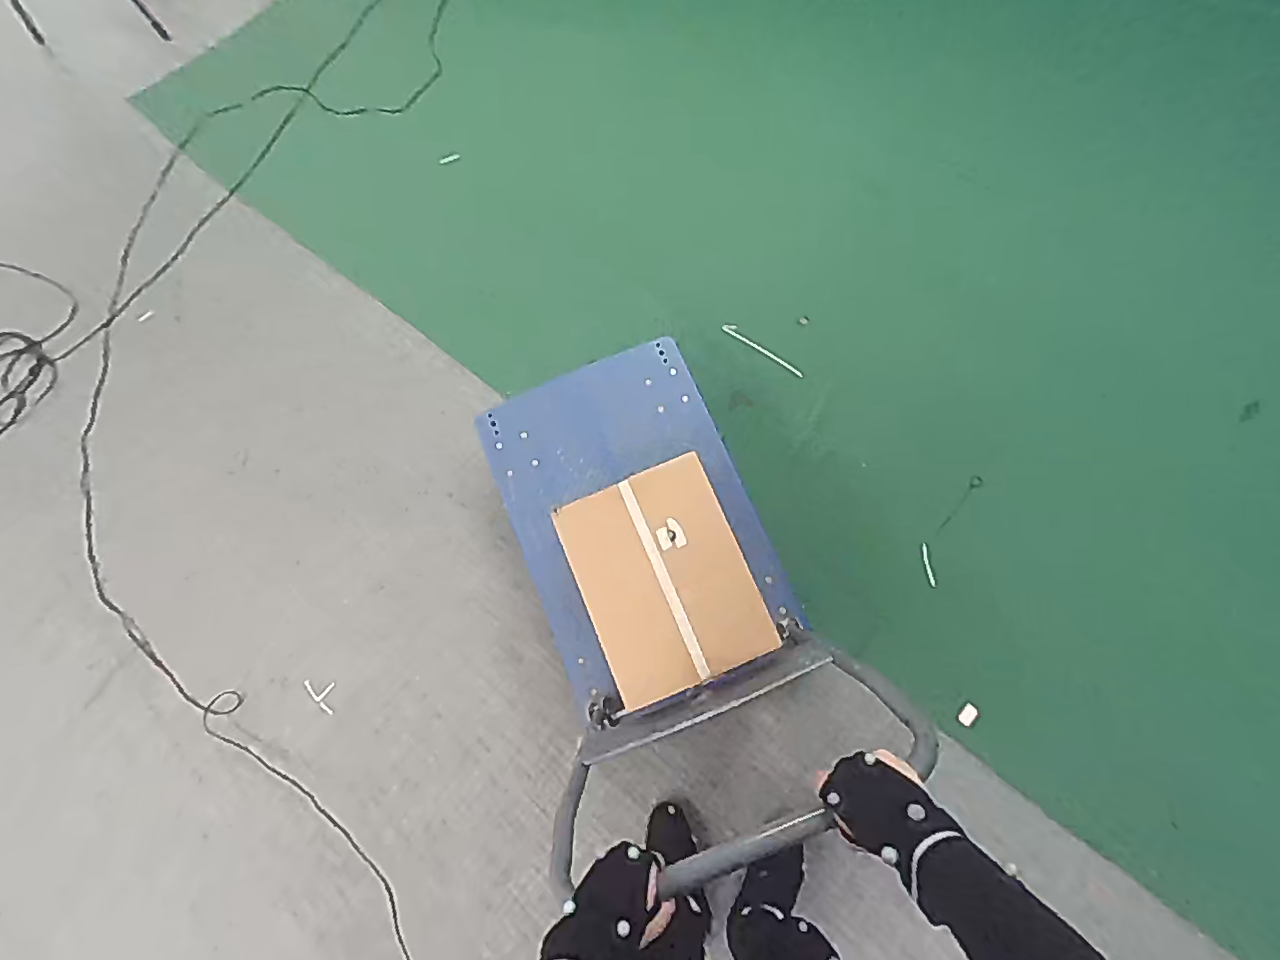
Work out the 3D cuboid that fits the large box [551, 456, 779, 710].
[{"bbox_3d":[0.053,0.216,1.176,0.320,0.320,0.408,-24,78,-2],"label":"large box"}]
